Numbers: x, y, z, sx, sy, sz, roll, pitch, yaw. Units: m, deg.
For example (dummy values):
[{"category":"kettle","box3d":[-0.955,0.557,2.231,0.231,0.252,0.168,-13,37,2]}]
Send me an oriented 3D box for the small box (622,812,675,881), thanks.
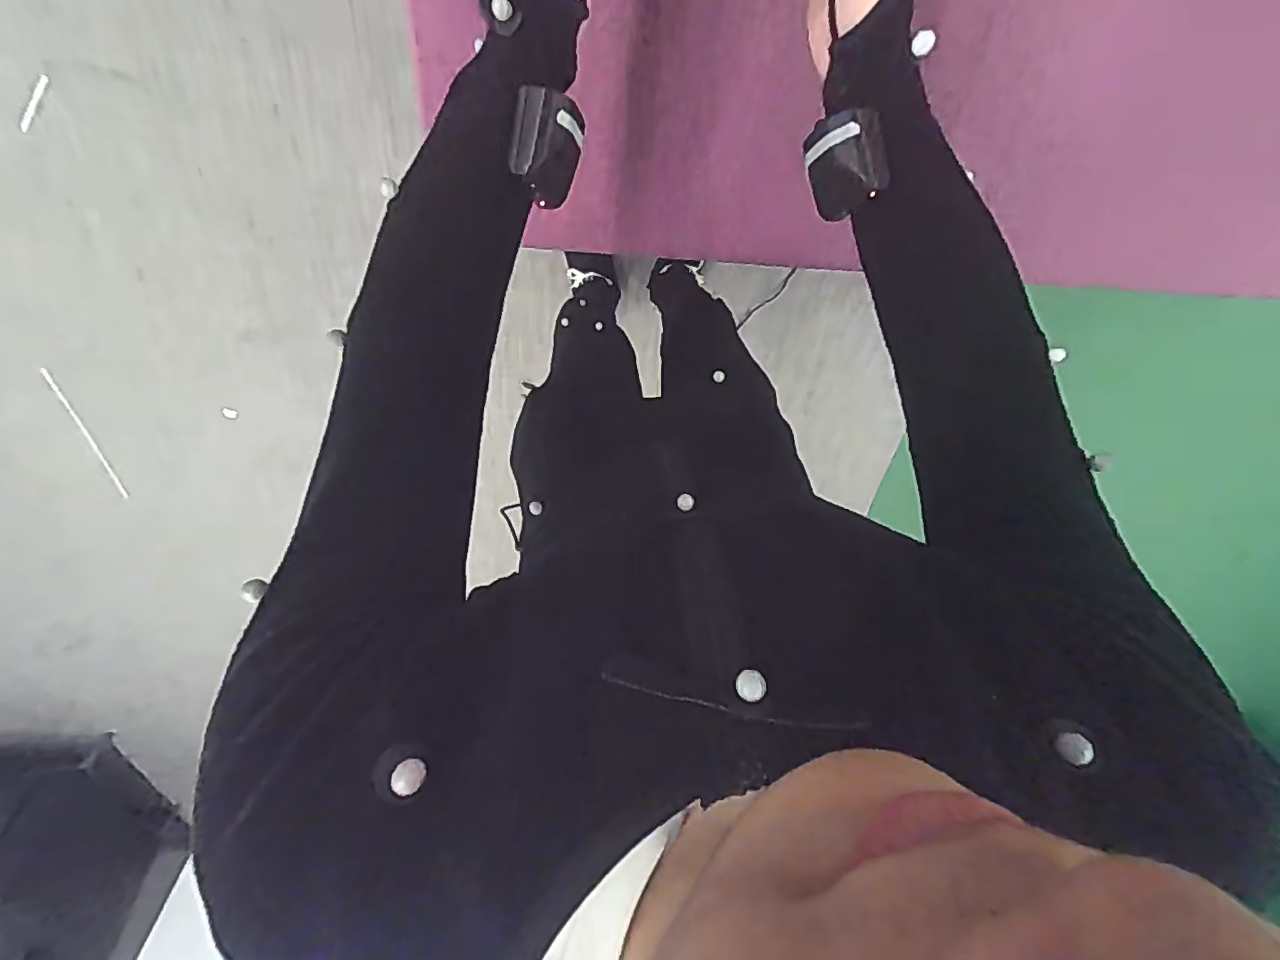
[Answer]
[{"category":"small box","box3d":[0.027,1.368,2.017,0.168,0.176,0.179,6,127,-8]}]
